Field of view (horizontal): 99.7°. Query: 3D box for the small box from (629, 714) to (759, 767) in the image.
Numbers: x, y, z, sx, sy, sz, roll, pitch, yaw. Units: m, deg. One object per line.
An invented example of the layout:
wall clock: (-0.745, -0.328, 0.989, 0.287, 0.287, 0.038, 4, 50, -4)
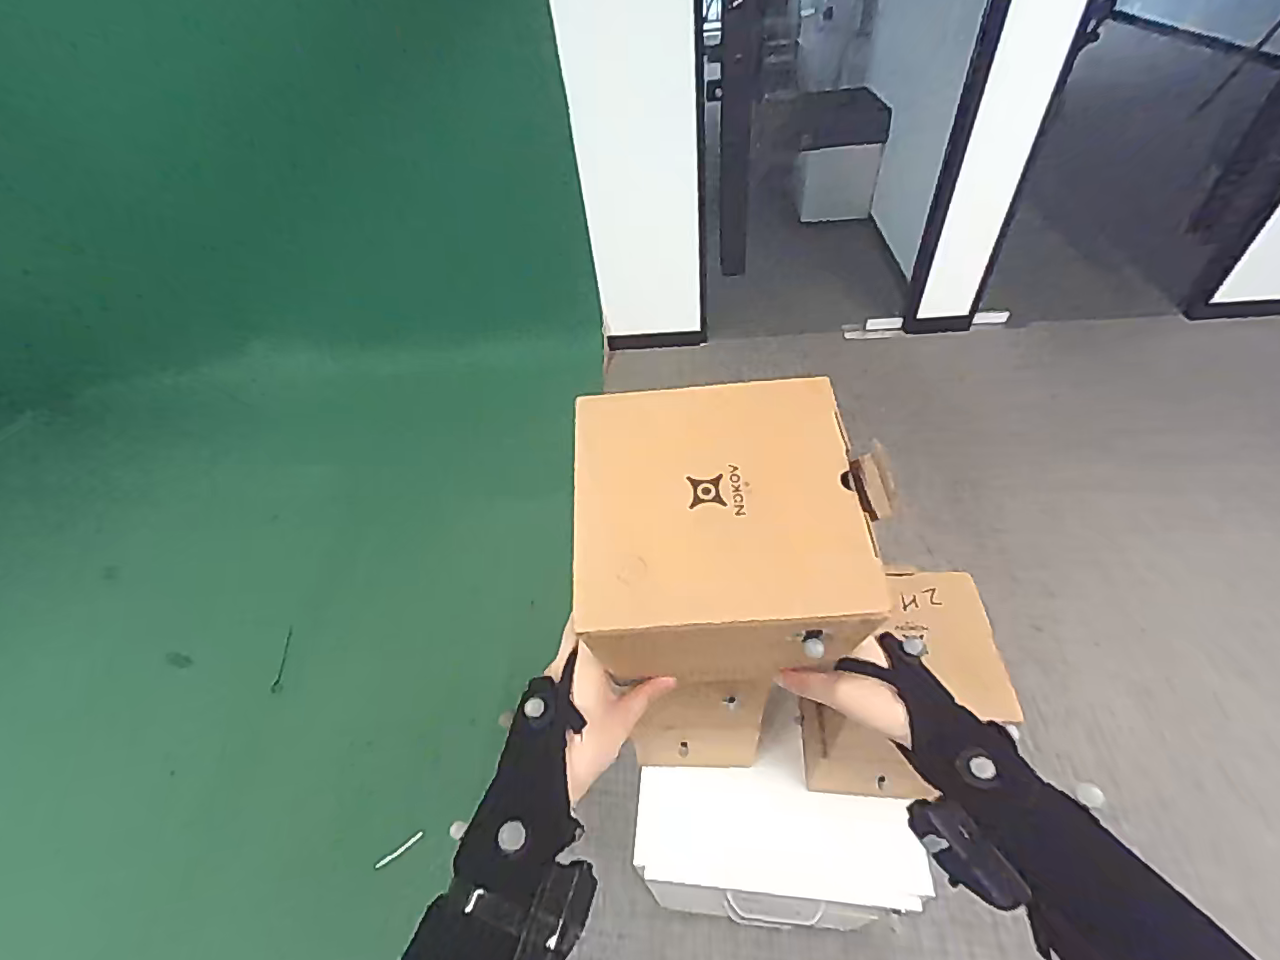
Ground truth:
small box: (0.080, 0.326, 0.824, 0.179, 0.176, 0.168, -1, 47, 4)

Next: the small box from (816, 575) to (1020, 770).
small box: (0.310, 0.233, 0.652, 0.168, 0.176, 0.179, 0, 48, 9)

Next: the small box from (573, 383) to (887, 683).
small box: (0.052, 0.050, 0.405, 0.179, 0.176, 0.168, -4, 60, 2)

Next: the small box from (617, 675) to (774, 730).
small box: (0.067, 0.213, 0.706, 0.179, 0.176, 0.168, -3, 46, 3)
